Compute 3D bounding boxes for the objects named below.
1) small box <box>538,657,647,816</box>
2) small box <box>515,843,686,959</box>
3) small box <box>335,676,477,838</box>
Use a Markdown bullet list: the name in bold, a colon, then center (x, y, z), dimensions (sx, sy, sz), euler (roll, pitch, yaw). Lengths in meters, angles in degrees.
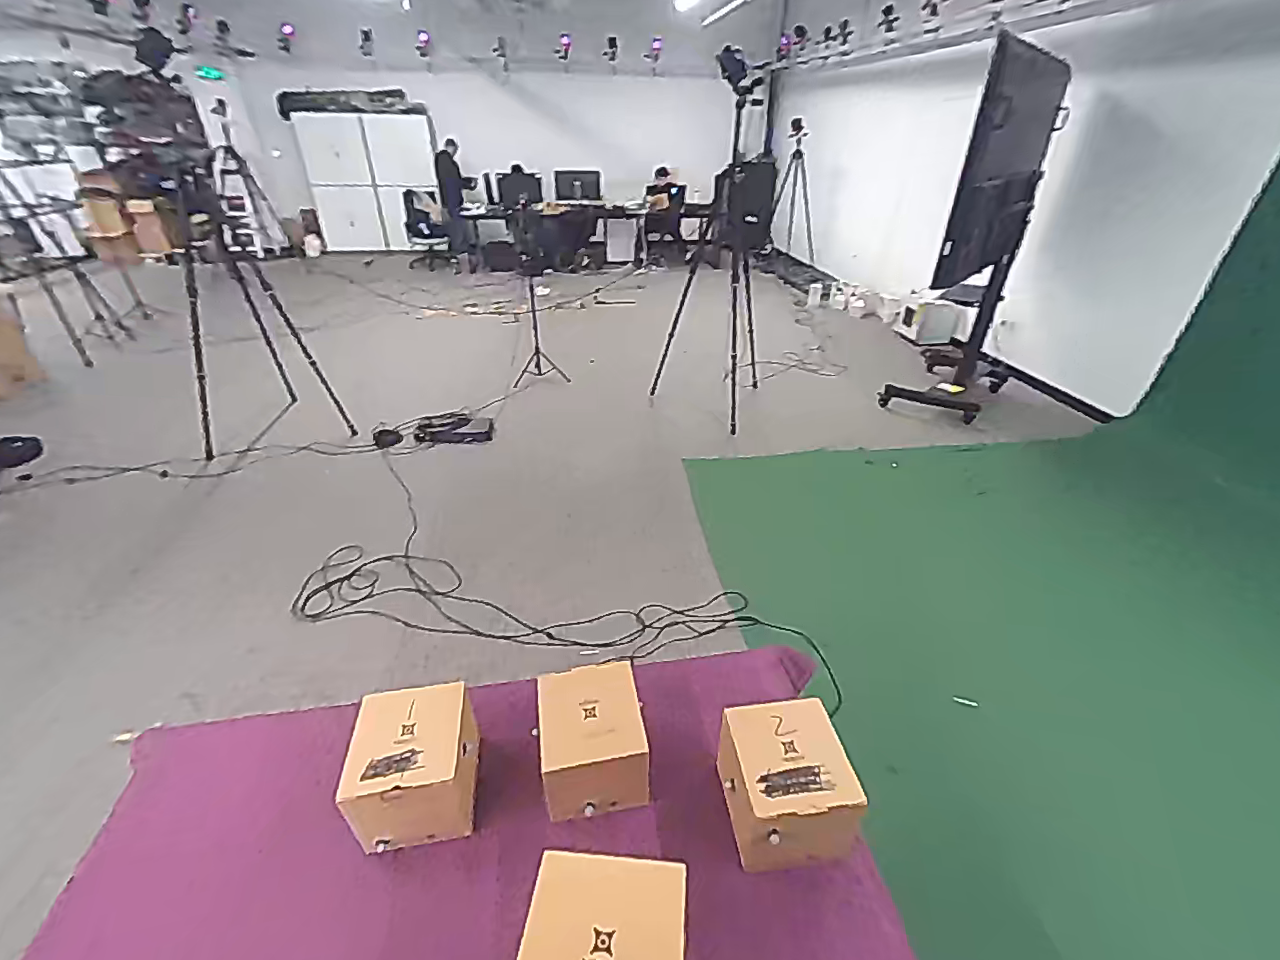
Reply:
- **small box**: center (-0.086, 0.437, 0.929), dimensions (0.168, 0.176, 0.179), euler (-6, 35, -9)
- **small box**: center (-0.039, 0.532, 0.573), dimensions (0.168, 0.176, 0.179), euler (2, 26, 5)
- **small box**: center (-0.367, 0.456, 0.888), dimensions (0.168, 0.176, 0.179), euler (-4, 33, -9)
